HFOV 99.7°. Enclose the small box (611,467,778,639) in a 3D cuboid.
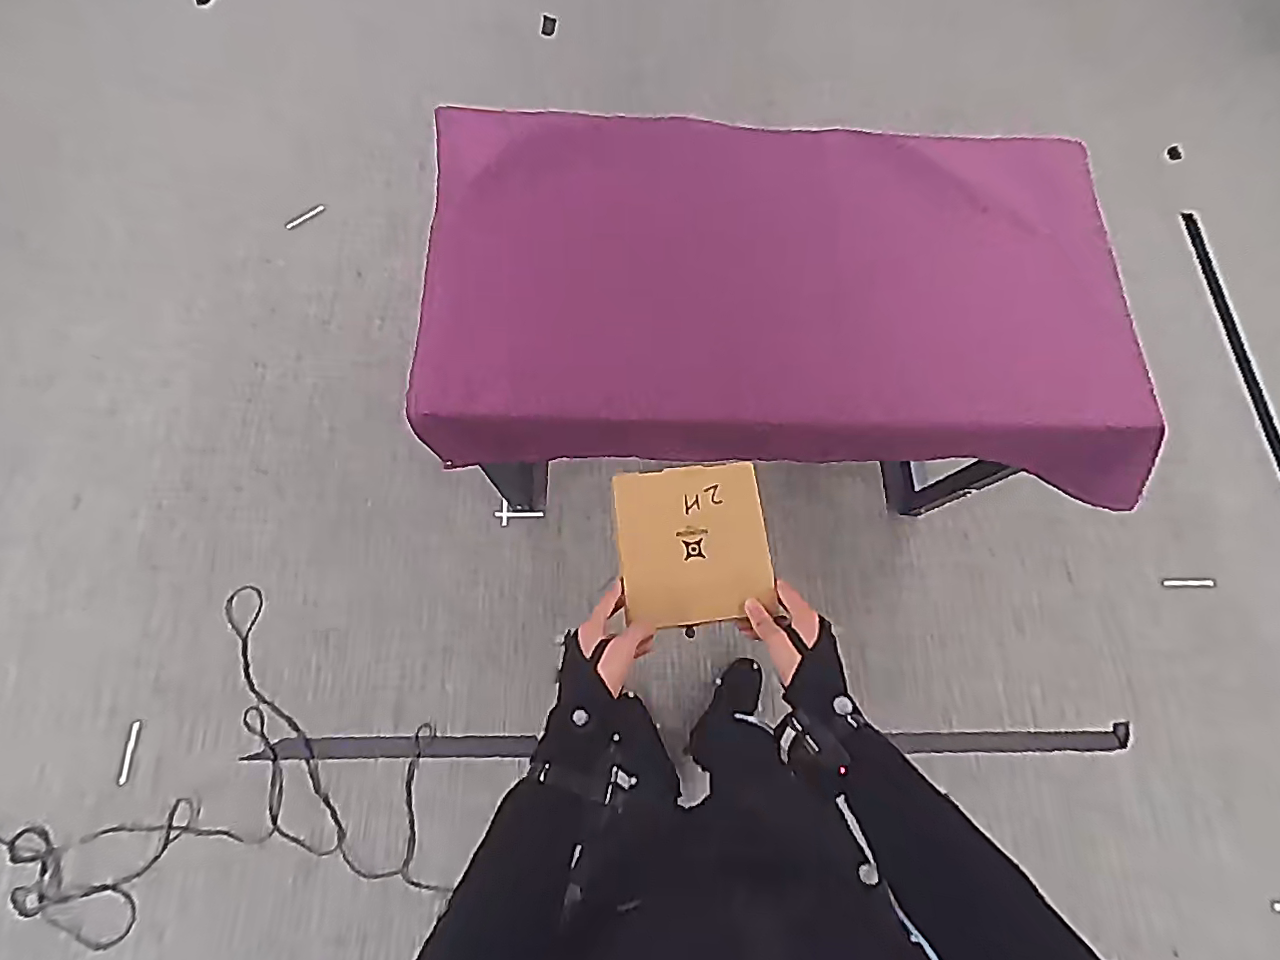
[{"bbox_3d":[0.055,0.096,0.665,0.168,0.176,0.179,-5,74,-5],"label":"small box"}]
